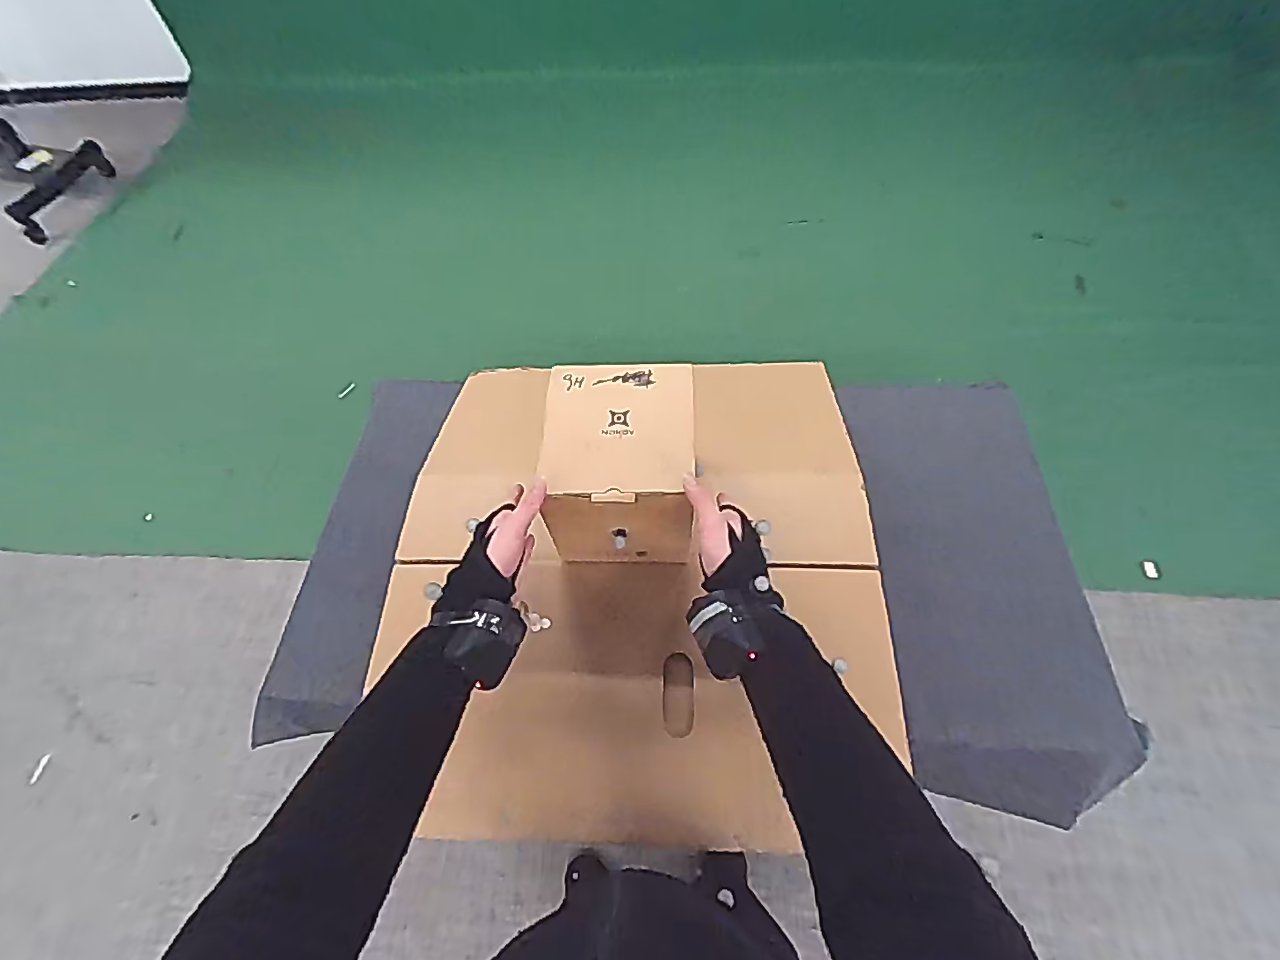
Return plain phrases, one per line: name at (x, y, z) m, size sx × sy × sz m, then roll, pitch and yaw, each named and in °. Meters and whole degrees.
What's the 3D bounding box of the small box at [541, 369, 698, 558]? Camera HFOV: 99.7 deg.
small box at (-0.015, -0.011, 0.659) m, size 0.168 × 0.176 × 0.179 m, roll -3°, pitch 58°, yaw 3°
